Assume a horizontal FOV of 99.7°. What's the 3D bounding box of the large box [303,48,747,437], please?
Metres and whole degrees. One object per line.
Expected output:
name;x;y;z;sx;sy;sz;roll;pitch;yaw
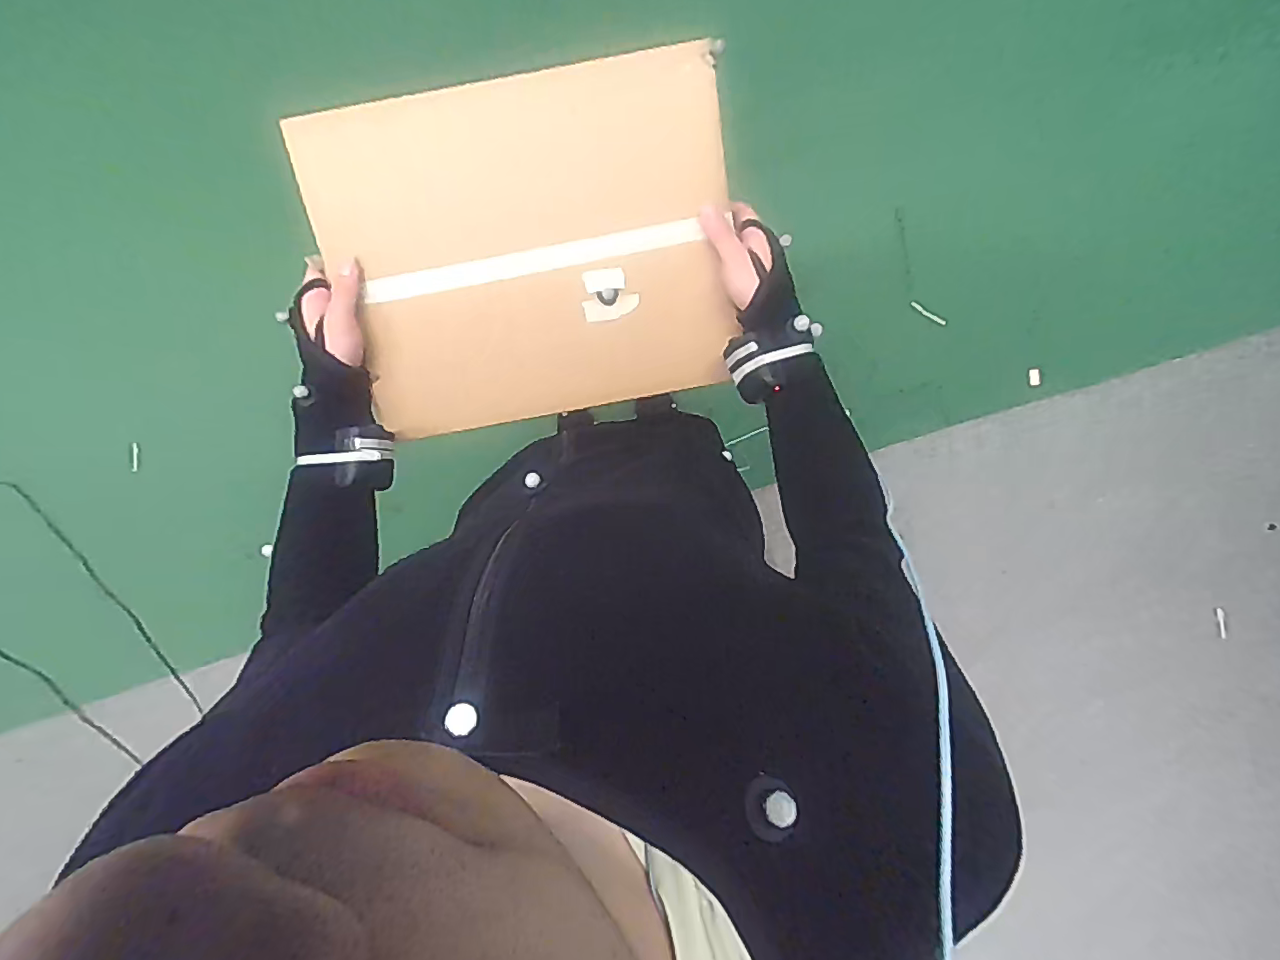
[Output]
large box;-0.112;-0.271;0.698;0.408;0.320;0.320;-11;108;-1
